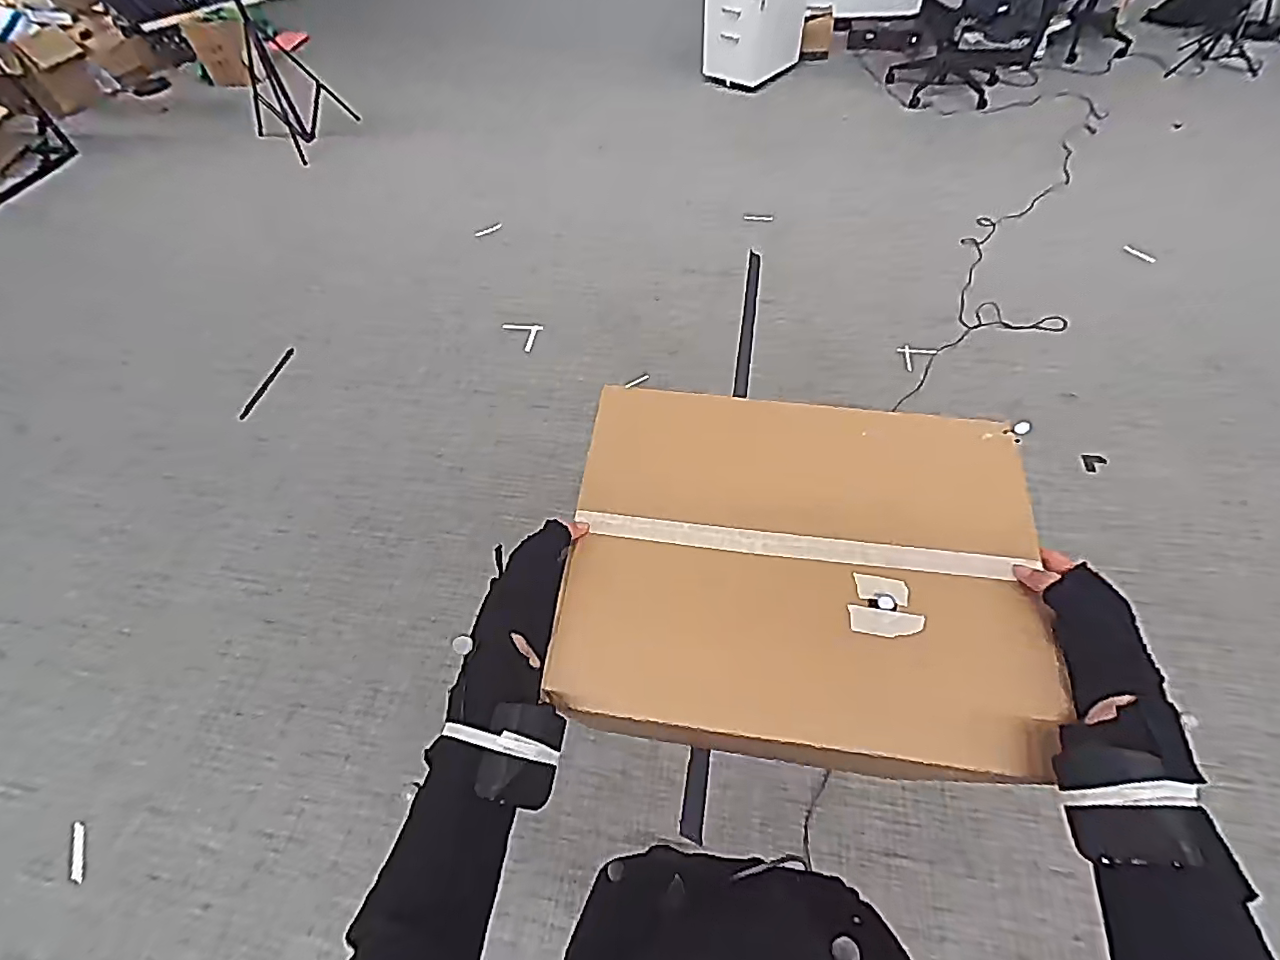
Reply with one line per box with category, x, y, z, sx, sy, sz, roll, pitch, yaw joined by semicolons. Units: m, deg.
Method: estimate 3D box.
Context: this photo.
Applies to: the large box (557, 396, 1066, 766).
large box;0.147;0.131;0.621;0.408;0.320;0.320;6;63;5
